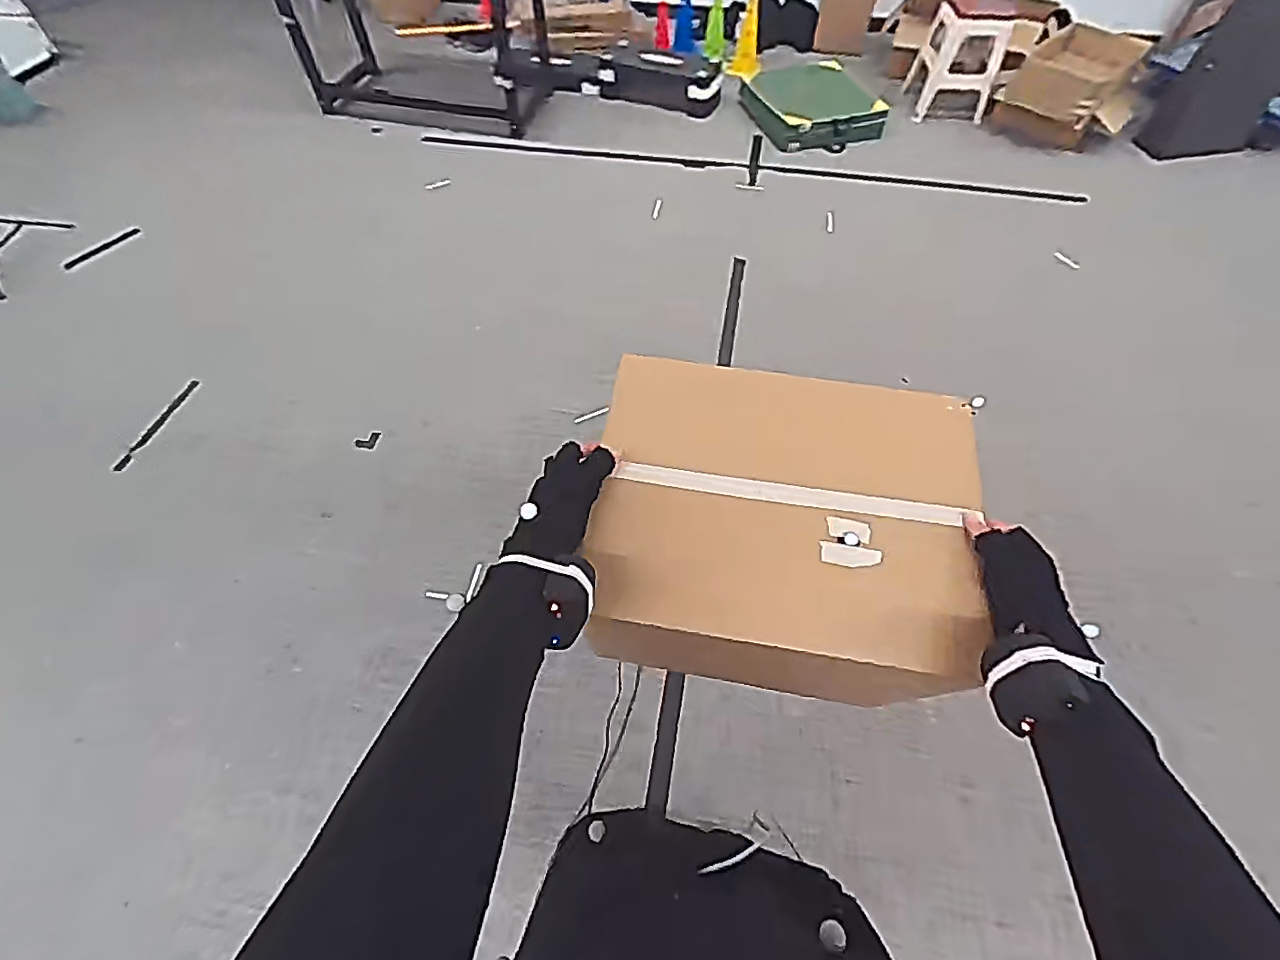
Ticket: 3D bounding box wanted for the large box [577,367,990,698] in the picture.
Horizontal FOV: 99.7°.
[{"bbox_3d":[0.156,0.085,0.715,0.408,0.320,0.320,8,65,5],"label":"large box"}]
